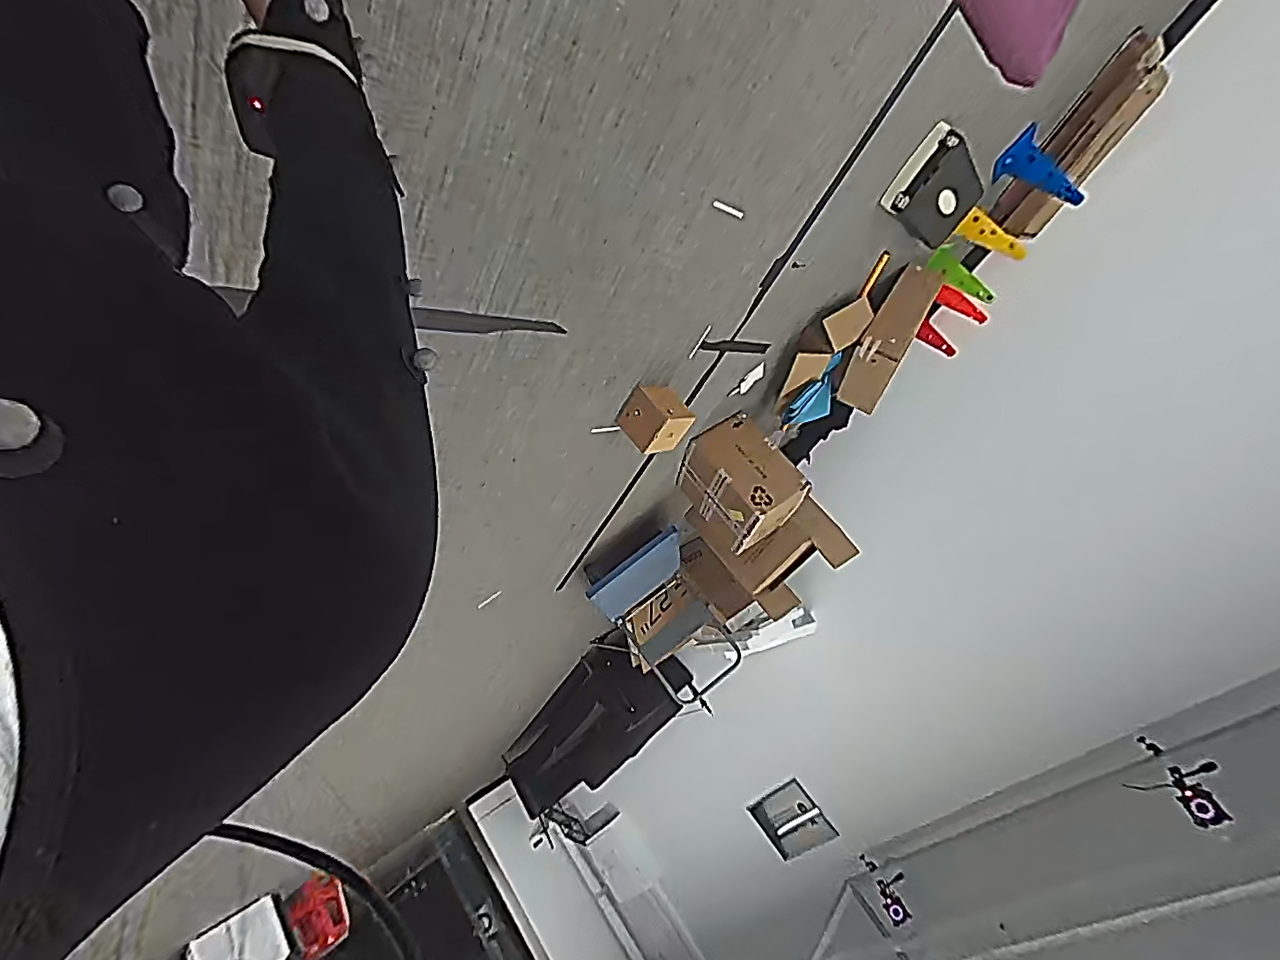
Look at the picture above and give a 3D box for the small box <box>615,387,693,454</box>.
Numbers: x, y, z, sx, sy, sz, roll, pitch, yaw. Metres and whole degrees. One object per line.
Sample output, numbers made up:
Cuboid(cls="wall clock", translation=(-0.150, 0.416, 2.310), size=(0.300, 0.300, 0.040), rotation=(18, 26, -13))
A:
Cuboid(cls="small box", translation=(0.046, -0.215, 1.903), size=(0.179, 0.176, 0.168), rotation=(-13, 146, -50))
